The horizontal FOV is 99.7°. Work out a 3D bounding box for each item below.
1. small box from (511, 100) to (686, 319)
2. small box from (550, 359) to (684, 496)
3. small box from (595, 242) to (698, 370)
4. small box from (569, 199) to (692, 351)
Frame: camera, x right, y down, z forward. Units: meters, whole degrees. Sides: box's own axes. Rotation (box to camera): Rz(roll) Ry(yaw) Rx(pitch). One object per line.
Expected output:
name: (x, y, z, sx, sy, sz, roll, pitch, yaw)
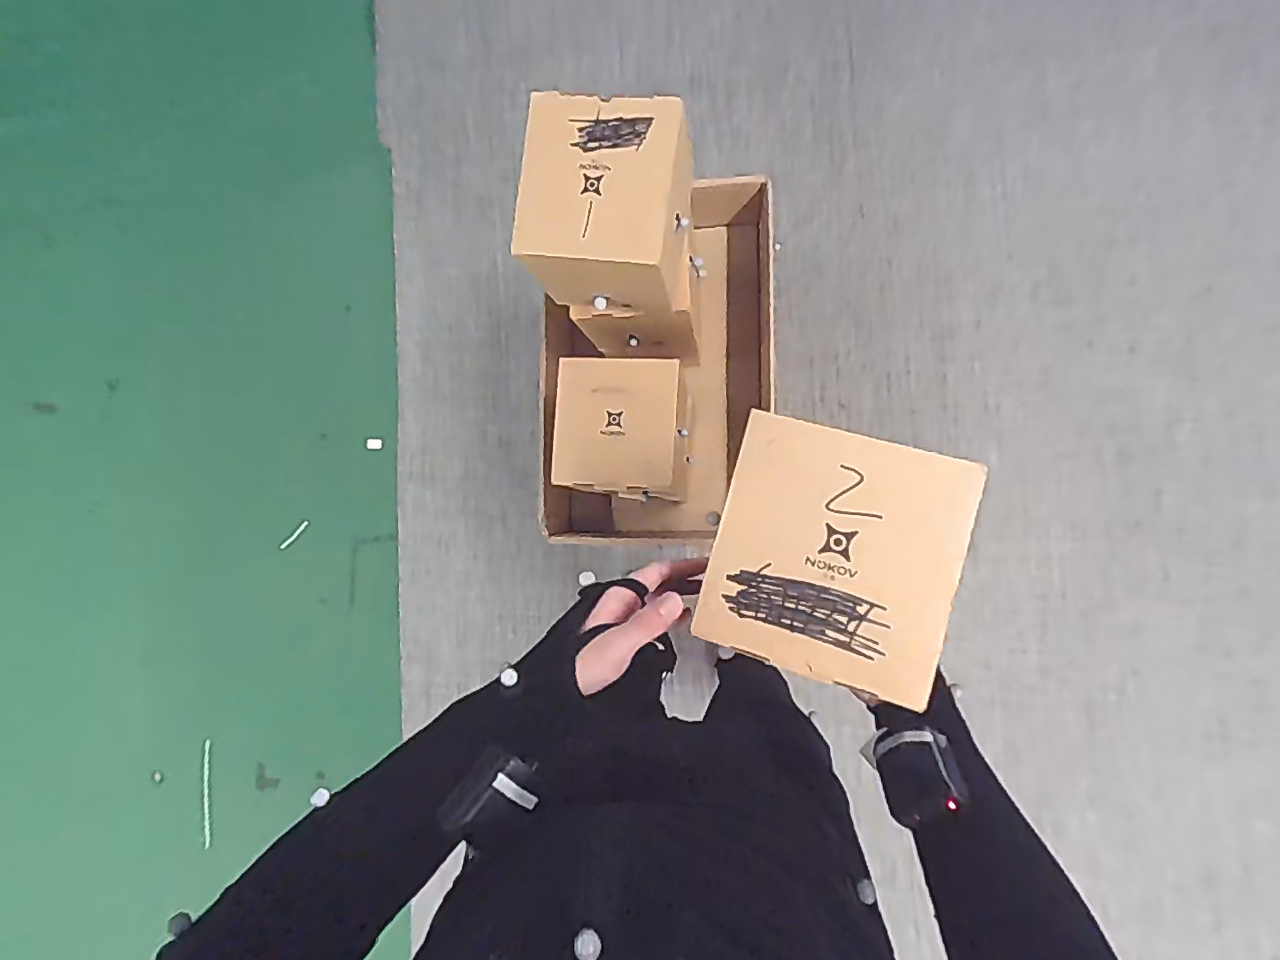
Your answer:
small box: (-0.038, -0.313, 0.654, 0.168, 0.176, 0.179, 8, 91, 8)
small box: (-0.025, -0.069, 0.803, 0.168, 0.176, 0.179, 4, 87, 8)
small box: (0.017, -0.303, 0.975, 0.168, 0.176, 0.179, -1, 89, 9)
small box: (-0.008, -0.305, 0.815, 0.168, 0.176, 0.179, -1, 89, 8)
